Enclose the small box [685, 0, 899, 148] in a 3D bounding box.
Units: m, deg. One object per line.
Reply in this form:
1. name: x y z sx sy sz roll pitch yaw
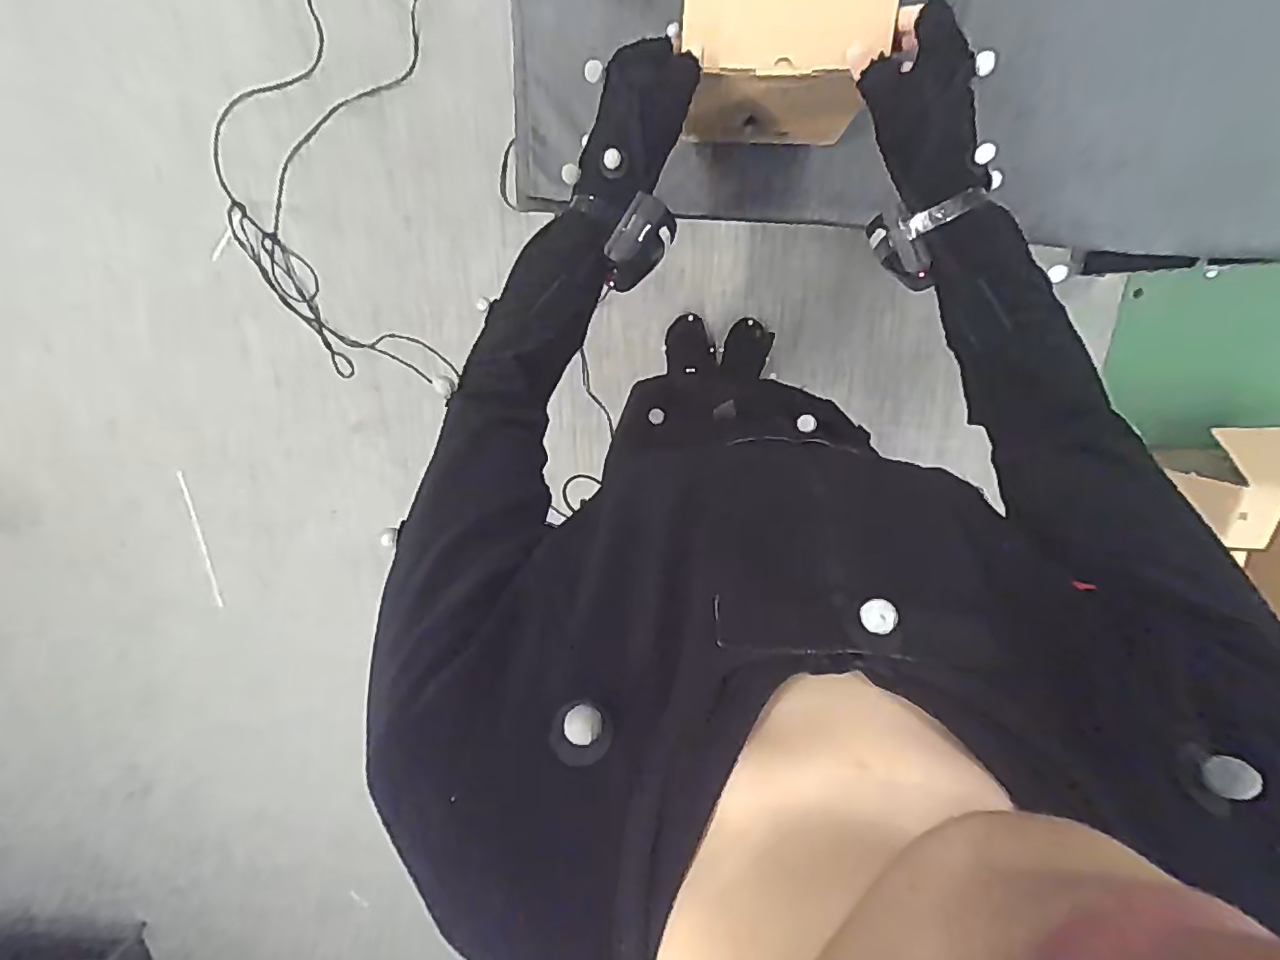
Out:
1. small box: 0.128 -0.430 0.493 0.168 0.176 0.179 3 106 4
